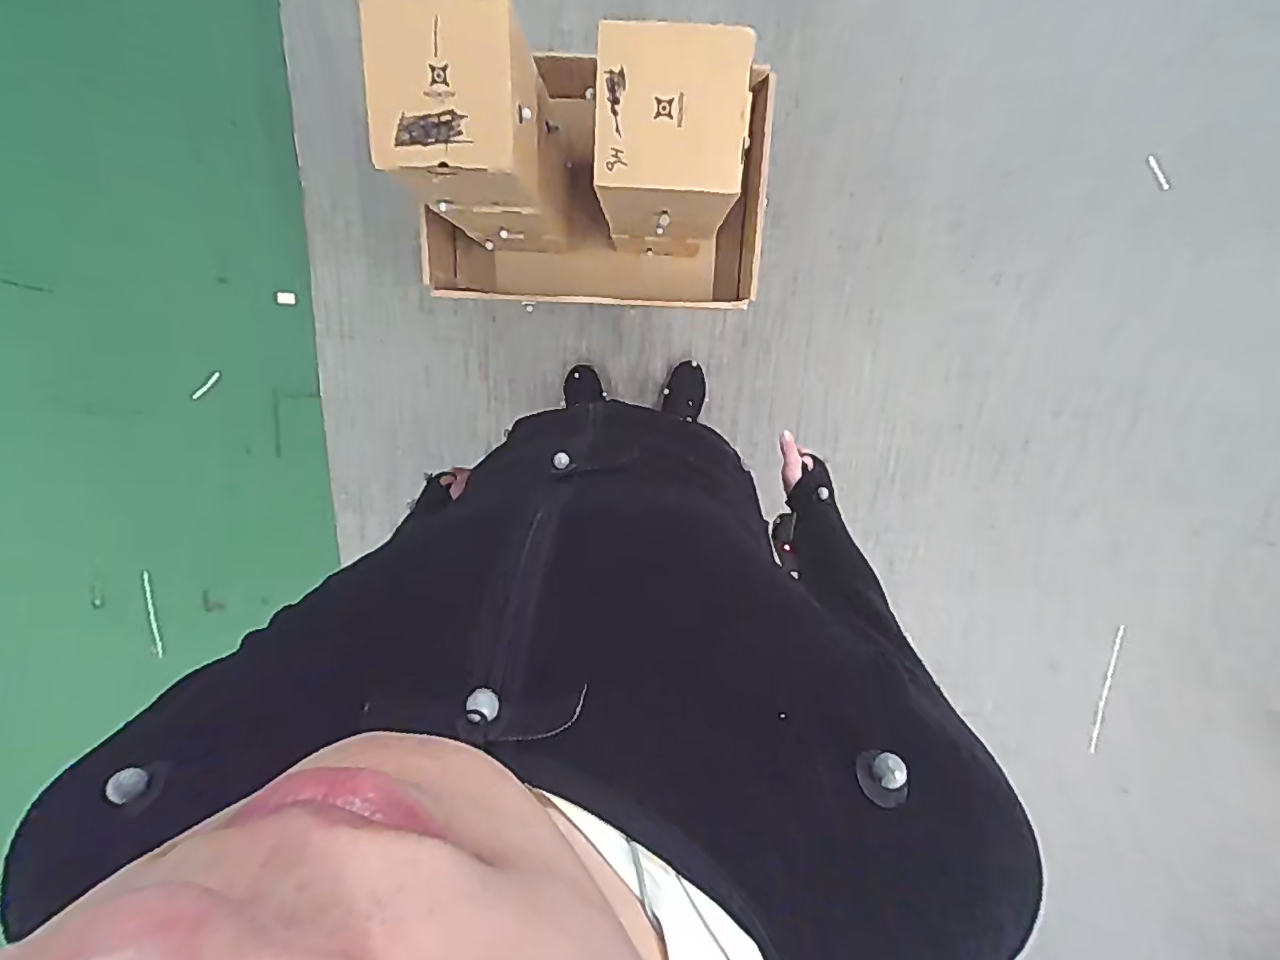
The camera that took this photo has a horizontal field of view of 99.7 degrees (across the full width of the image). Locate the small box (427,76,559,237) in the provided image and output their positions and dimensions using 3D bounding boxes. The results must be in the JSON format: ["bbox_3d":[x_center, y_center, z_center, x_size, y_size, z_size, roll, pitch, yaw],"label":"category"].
[{"bbox_3d":[-0.219,-0.492,0.835,0.168,0.176,0.179,3,104,-1],"label":"small box"}]

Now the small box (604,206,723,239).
[{"bbox_3d":[0.040,-0.481,0.841,0.179,0.176,0.168,4,106,-2],"label":"small box"}]

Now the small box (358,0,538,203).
[{"bbox_3d":[-0.223,-0.459,0.674,0.168,0.176,0.179,1,103,-1],"label":"small box"}]

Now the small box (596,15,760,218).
[{"bbox_3d":[0.039,-0.439,0.683,0.179,0.176,0.168,3,105,-1],"label":"small box"}]
